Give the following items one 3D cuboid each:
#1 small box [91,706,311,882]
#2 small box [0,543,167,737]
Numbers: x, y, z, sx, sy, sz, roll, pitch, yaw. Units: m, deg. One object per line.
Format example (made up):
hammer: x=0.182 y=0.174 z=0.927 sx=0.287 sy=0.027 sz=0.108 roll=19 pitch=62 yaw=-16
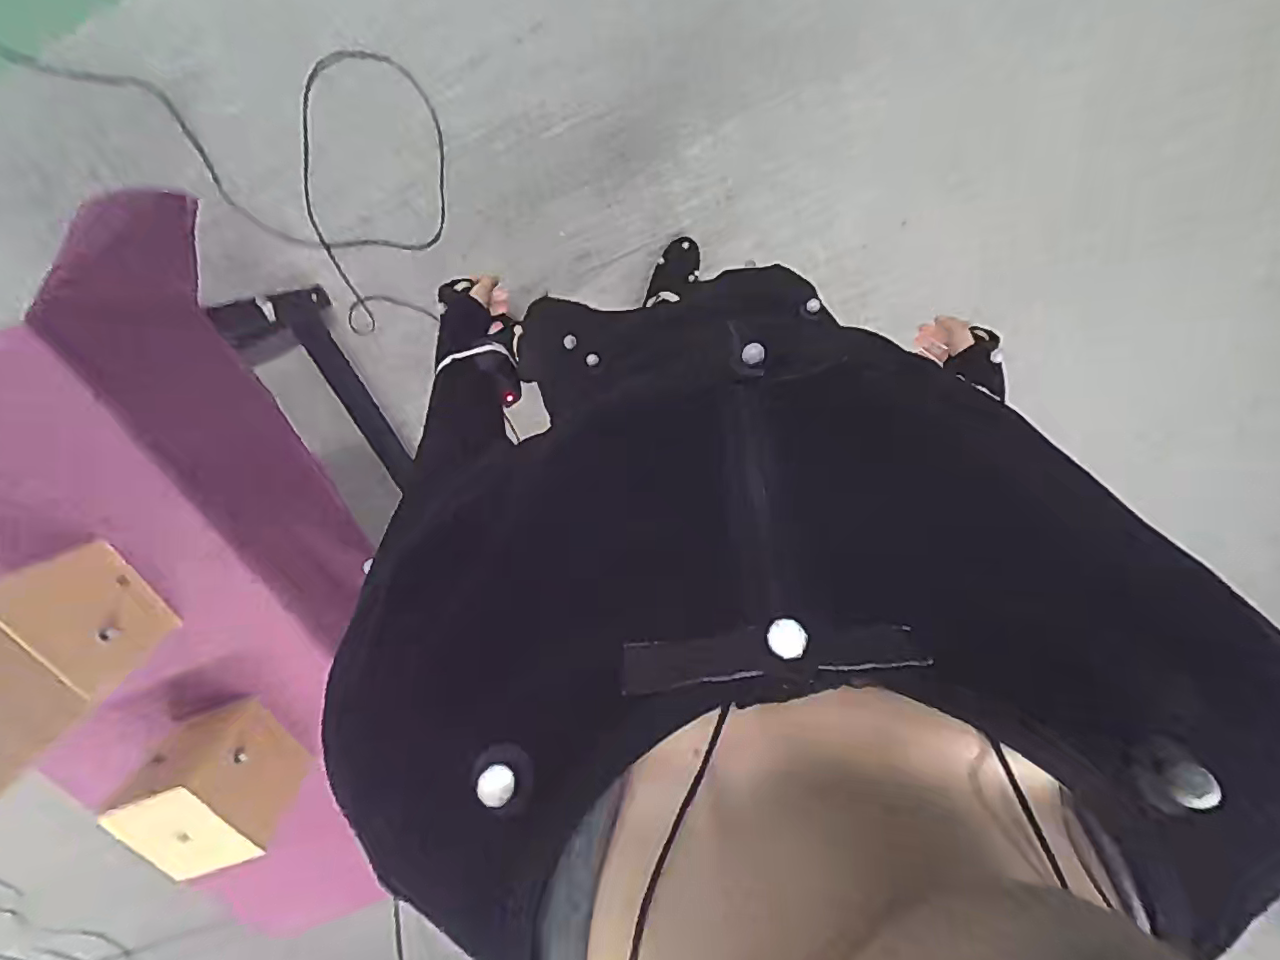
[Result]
small box: x=-0.683 y=0.491 z=0.869 sx=0.168 sy=0.176 sz=0.179 roll=-21 pitch=114 yaw=7
small box: x=-0.807 y=0.210 z=0.734 sx=0.179 sy=0.176 sz=0.168 roll=-20 pitch=114 yaw=7
